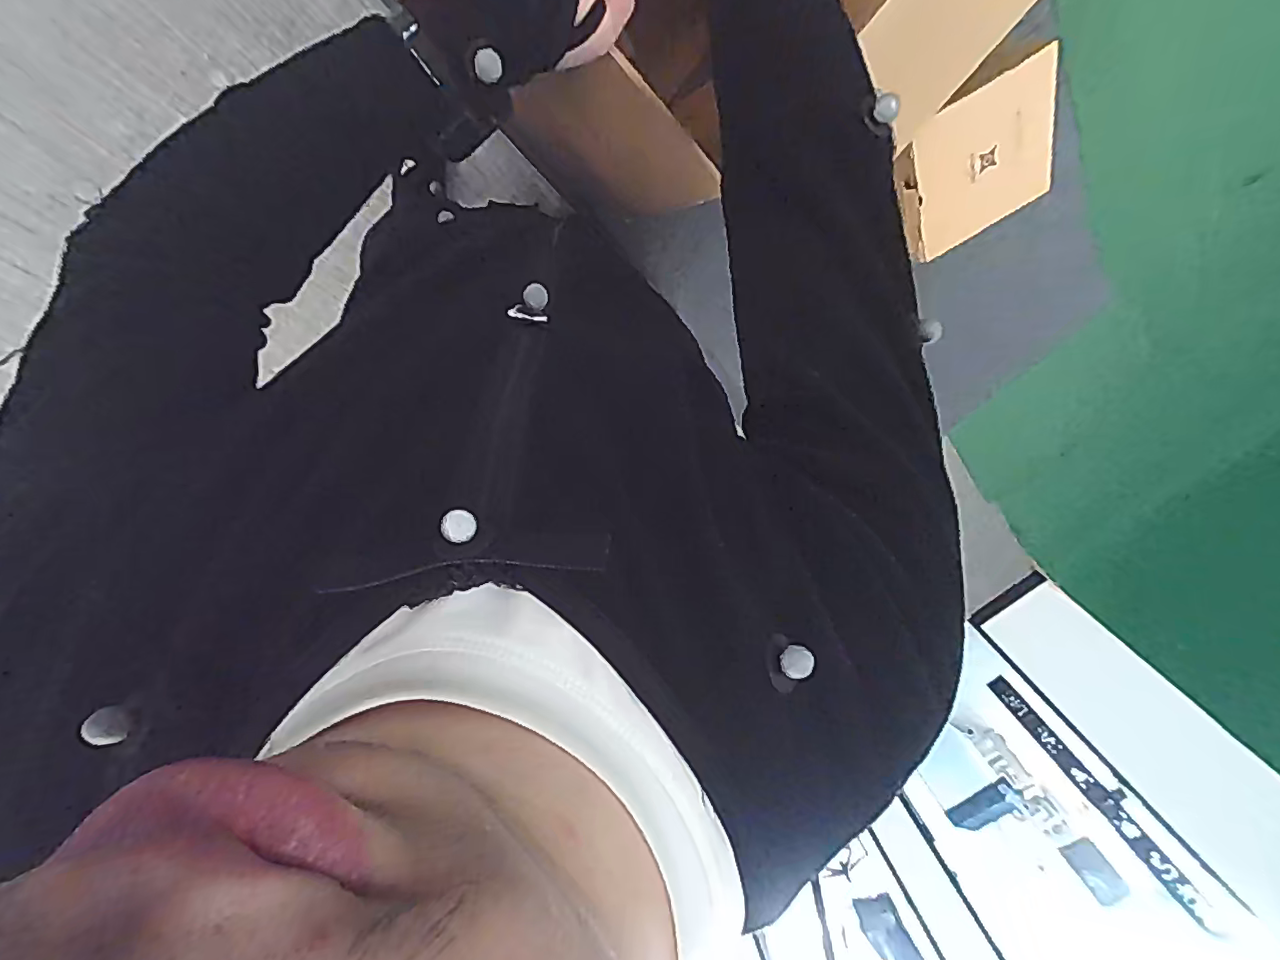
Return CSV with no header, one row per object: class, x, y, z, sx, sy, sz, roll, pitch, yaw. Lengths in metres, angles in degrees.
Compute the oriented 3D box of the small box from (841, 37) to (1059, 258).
small box,0.378,-0.420,0.687,0.179,0.176,0.168,-31,131,4
